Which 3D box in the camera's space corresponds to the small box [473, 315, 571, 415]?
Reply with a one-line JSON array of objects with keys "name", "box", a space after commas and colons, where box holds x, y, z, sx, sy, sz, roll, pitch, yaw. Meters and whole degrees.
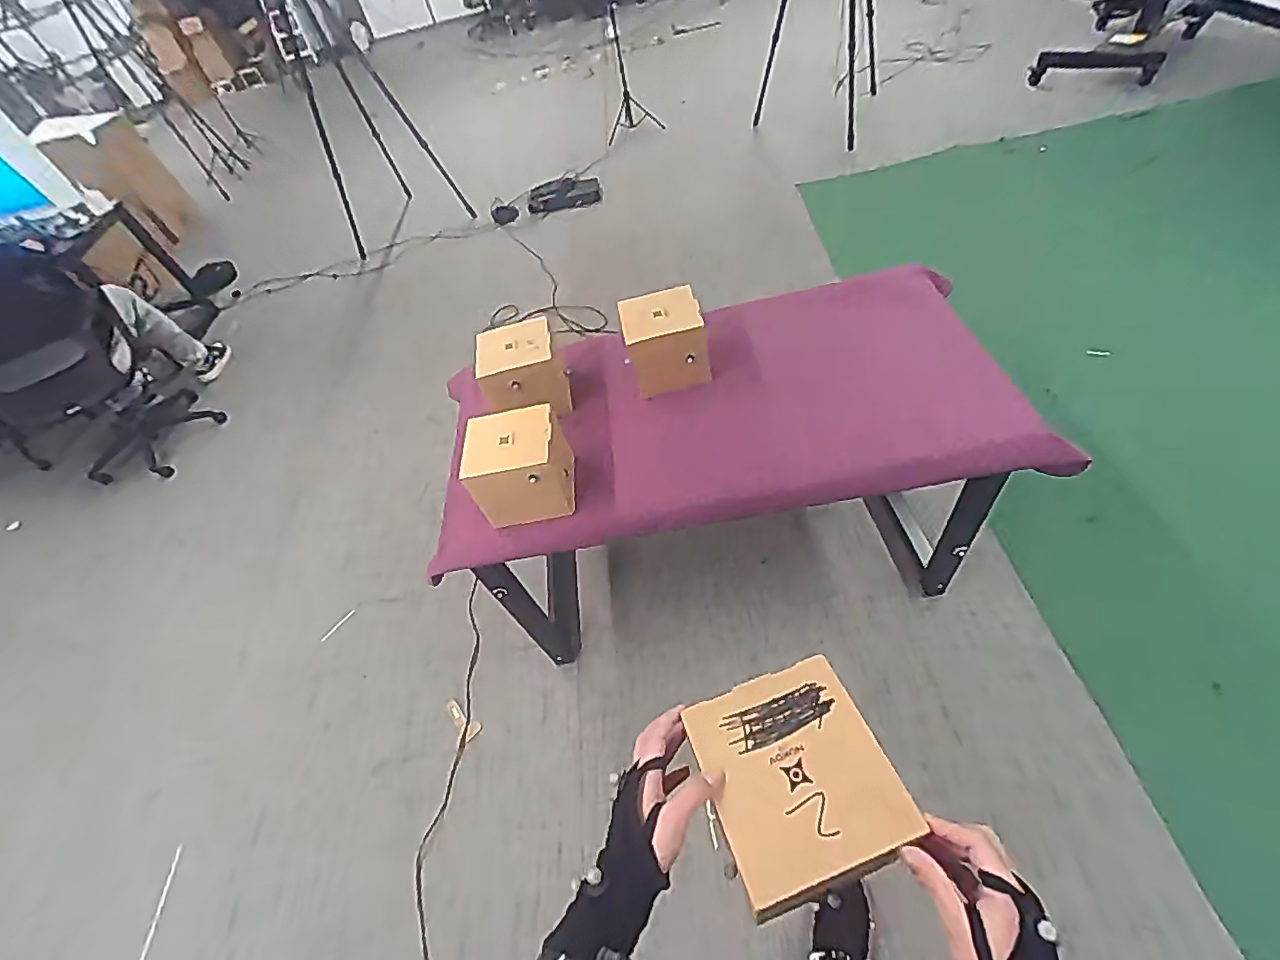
[{"name": "small box", "box": [-0.274, -0.253, 1.275, 0.179, 0.176, 0.168, -14, 52, 3]}]

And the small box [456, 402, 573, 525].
[{"name": "small box", "box": [-0.244, -0.028, 1.093, 0.179, 0.176, 0.168, -11, 50, 5]}]

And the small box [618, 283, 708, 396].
[{"name": "small box", "box": [0.057, -0.321, 1.249, 0.179, 0.176, 0.168, -13, 51, 5]}]
